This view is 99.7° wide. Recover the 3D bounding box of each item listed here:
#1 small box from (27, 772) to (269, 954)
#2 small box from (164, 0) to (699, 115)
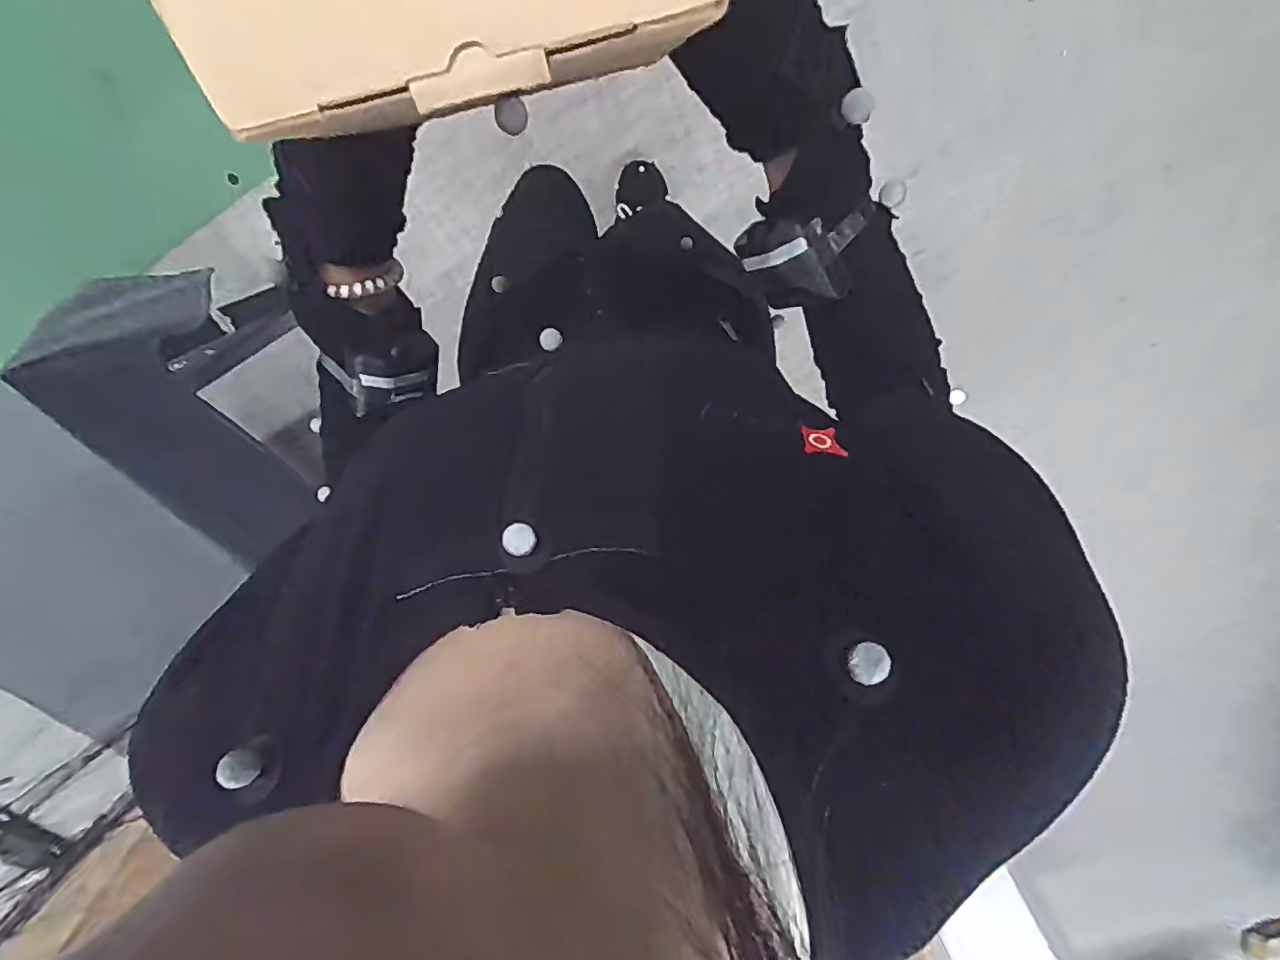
[{"bbox_3d":[-0.734,0.578,0.830,0.168,0.176,0.179,-26,118,15],"label":"small box"},{"bbox_3d":[-0.078,-0.249,0.186,0.168,0.176,0.179,-14,125,1],"label":"small box"}]
